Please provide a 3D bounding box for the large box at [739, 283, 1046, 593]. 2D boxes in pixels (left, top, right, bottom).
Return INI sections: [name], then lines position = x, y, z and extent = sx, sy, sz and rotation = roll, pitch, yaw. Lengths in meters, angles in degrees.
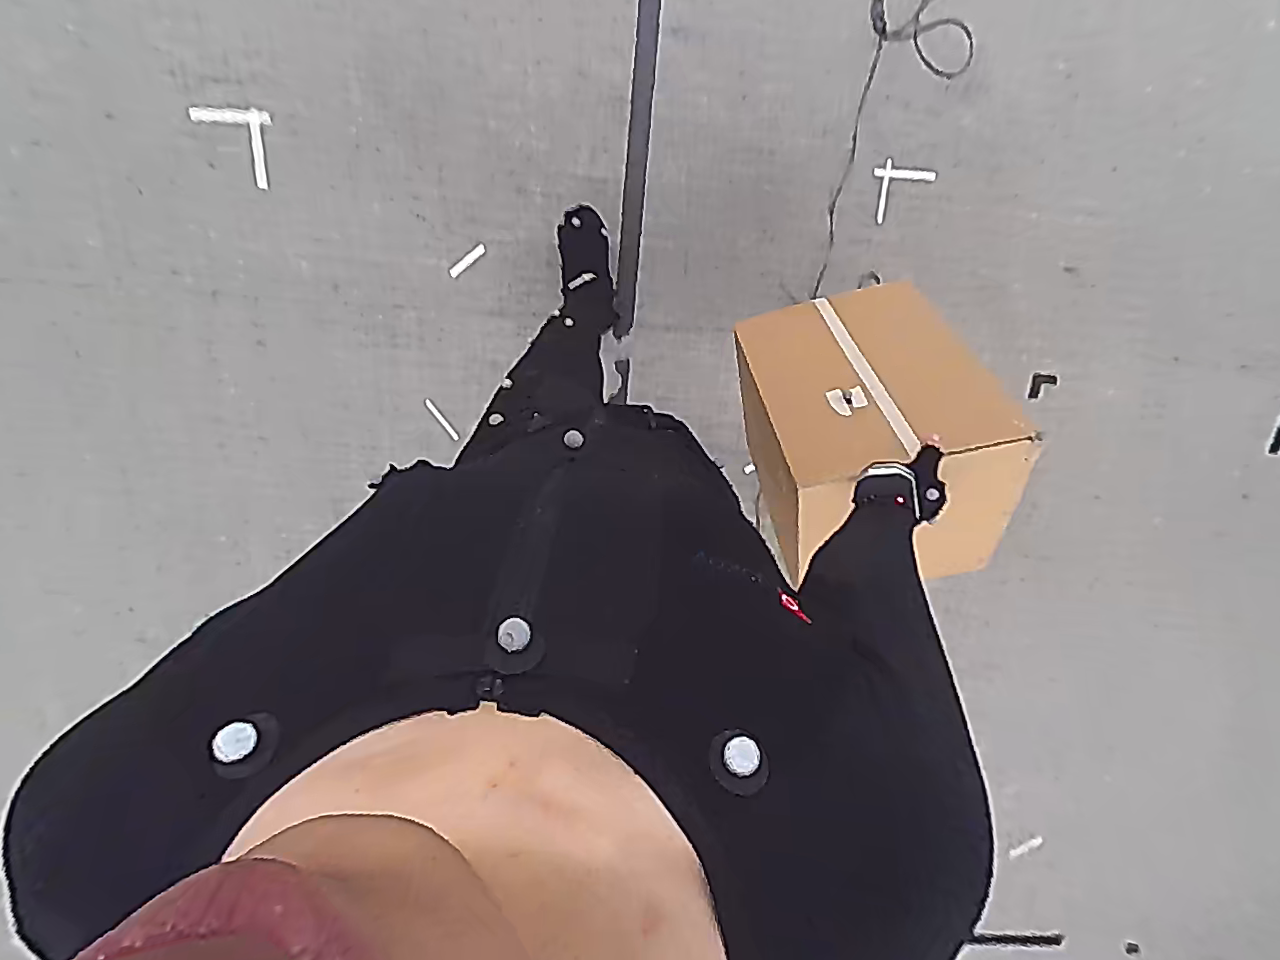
[large box]
position = 0.380, -0.073, 0.943
extent = 0.320, 0.408, 0.320
rotation = -14, 139, 6
